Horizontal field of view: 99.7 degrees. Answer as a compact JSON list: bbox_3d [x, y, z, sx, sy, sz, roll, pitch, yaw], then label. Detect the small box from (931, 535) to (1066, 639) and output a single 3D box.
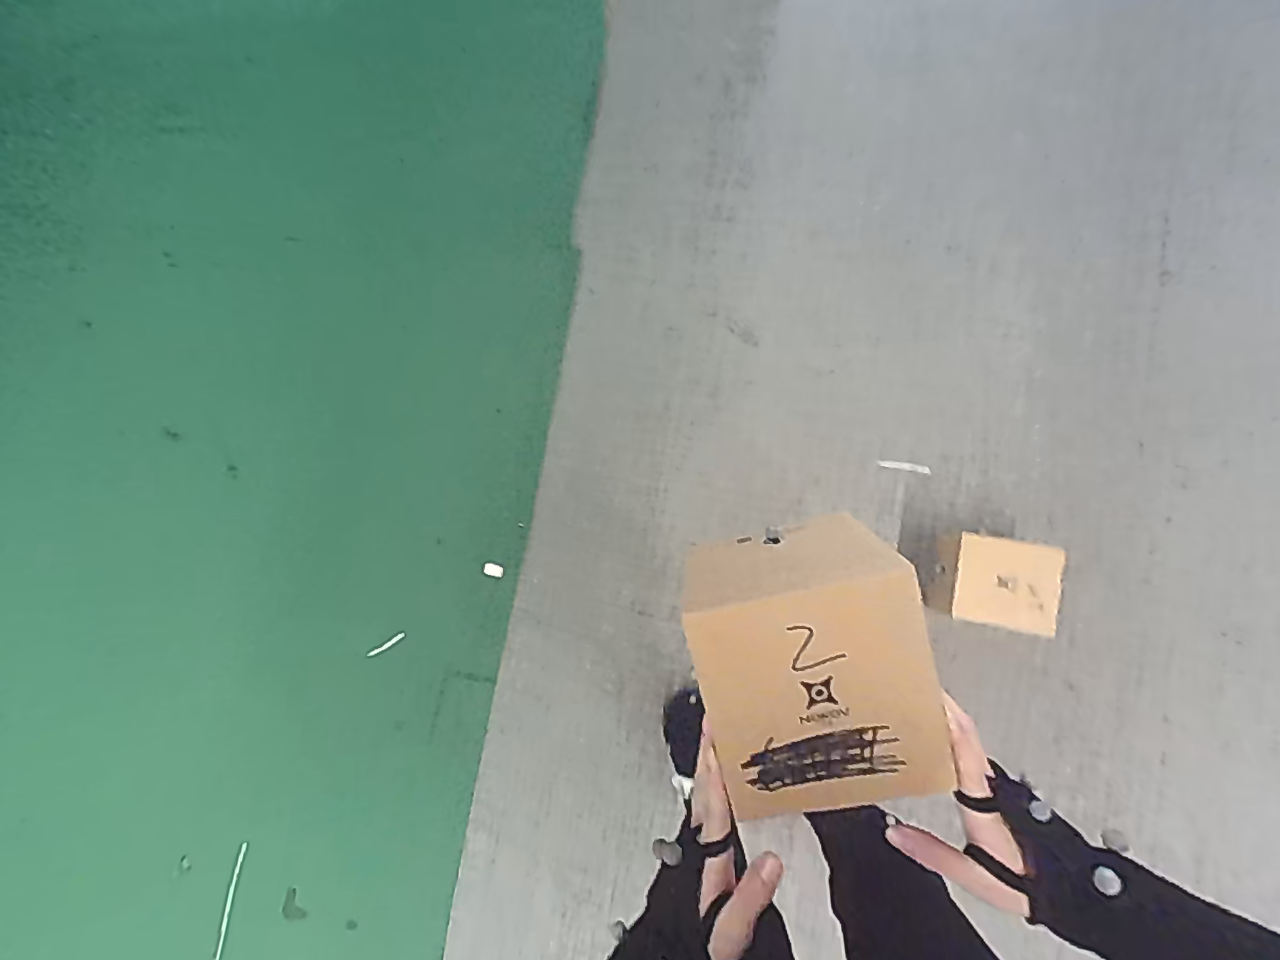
[{"bbox_3d":[0.714,0.212,1.097,0.179,0.176,0.168,10,85,14],"label":"small box"}]
